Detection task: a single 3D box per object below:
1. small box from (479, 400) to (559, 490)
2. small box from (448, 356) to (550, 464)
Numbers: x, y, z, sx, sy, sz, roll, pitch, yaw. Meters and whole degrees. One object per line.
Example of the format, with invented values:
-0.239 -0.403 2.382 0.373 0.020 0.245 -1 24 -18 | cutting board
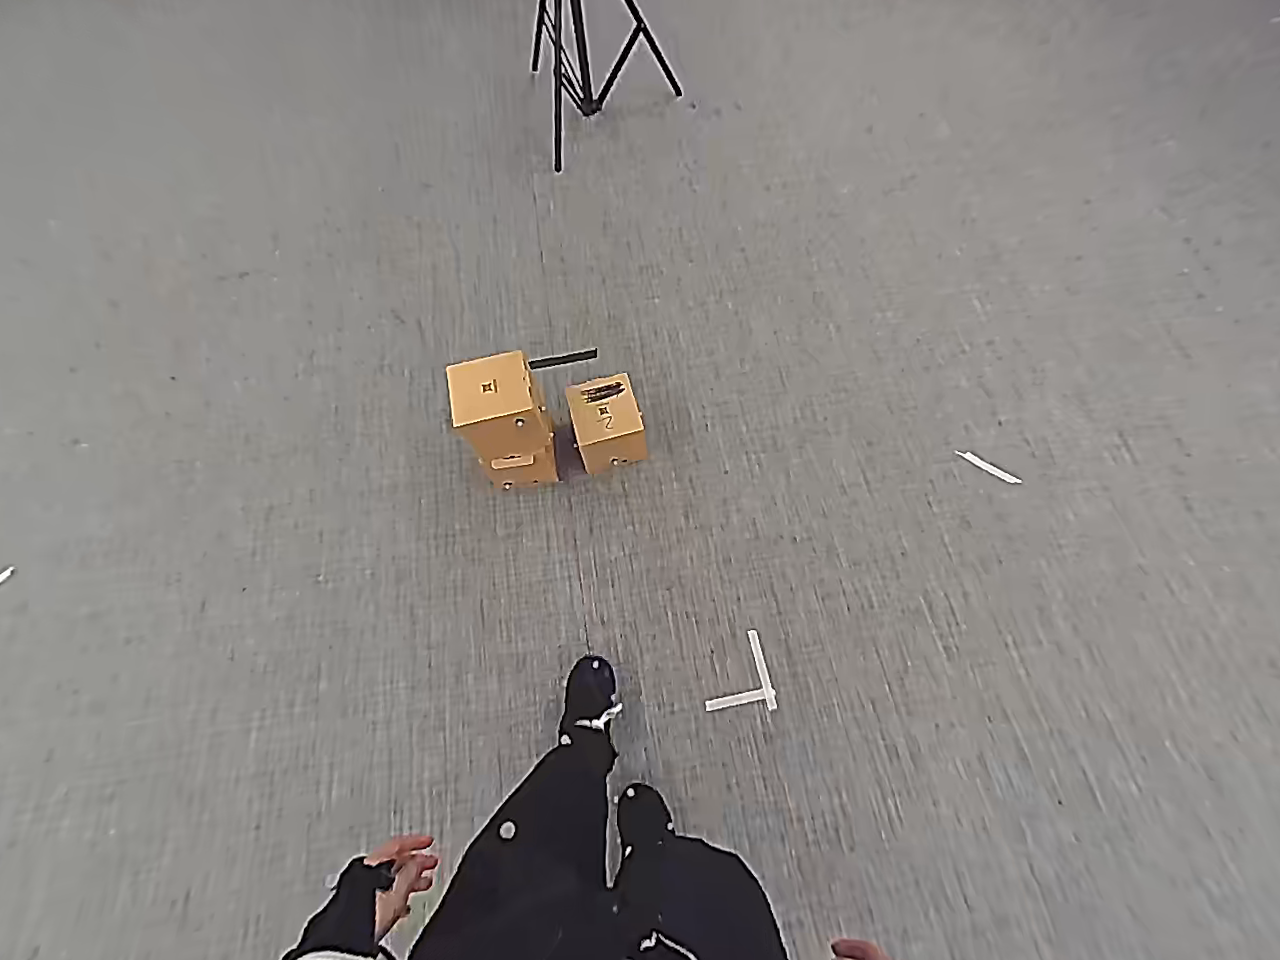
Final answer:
-0.308 -0.083 1.397 0.168 0.176 0.179 -8 65 0 | small box
-0.322 -0.156 1.252 0.179 0.176 0.168 -14 66 -3 | small box
